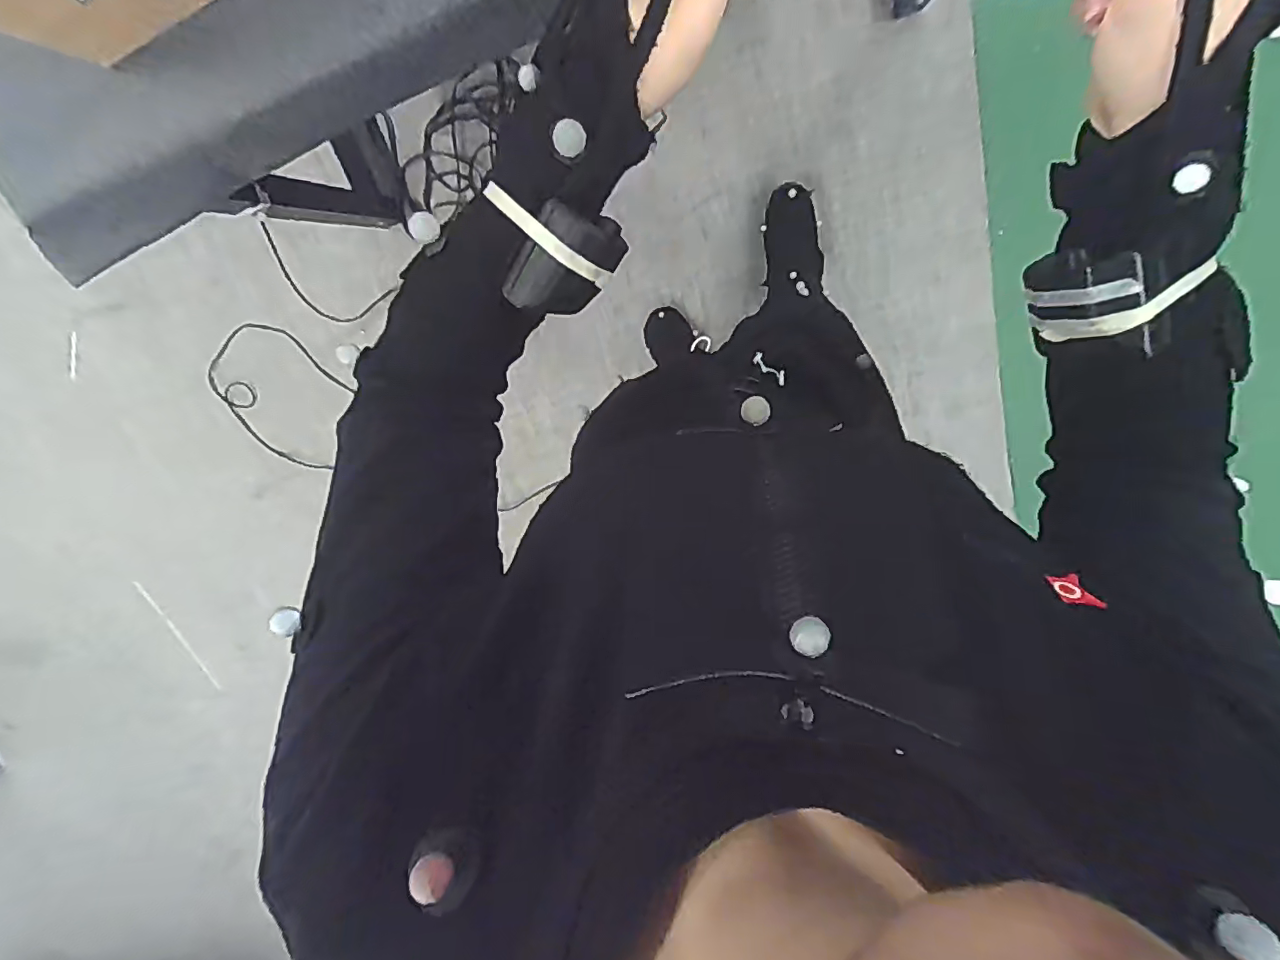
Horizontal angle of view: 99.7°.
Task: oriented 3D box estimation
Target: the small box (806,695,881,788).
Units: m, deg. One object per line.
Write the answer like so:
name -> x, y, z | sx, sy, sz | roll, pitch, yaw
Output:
small box -> 0.592, 0.763, 1.582 | 0.168, 0.176, 0.179 | -11, 110, 10
